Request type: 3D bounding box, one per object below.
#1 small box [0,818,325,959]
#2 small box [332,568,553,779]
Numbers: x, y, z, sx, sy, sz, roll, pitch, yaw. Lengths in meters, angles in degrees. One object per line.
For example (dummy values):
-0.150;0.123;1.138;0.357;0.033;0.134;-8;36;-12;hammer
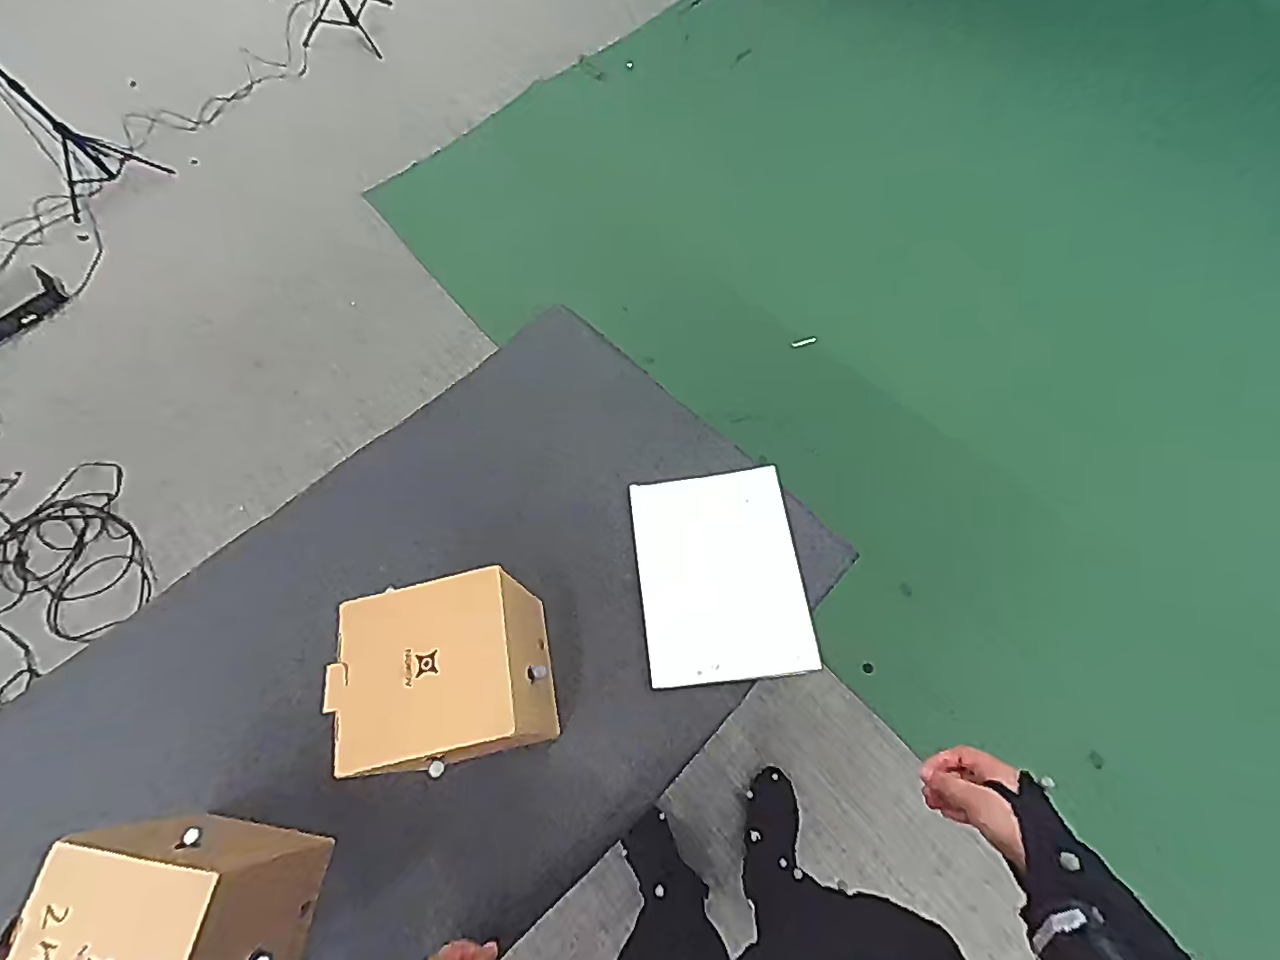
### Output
-0.450;0.441;0.519;0.179;0.176;0.168;4;66;9;small box
-0.203;0.212;0.594;0.179;0.176;0.168;-14;64;1;small box
